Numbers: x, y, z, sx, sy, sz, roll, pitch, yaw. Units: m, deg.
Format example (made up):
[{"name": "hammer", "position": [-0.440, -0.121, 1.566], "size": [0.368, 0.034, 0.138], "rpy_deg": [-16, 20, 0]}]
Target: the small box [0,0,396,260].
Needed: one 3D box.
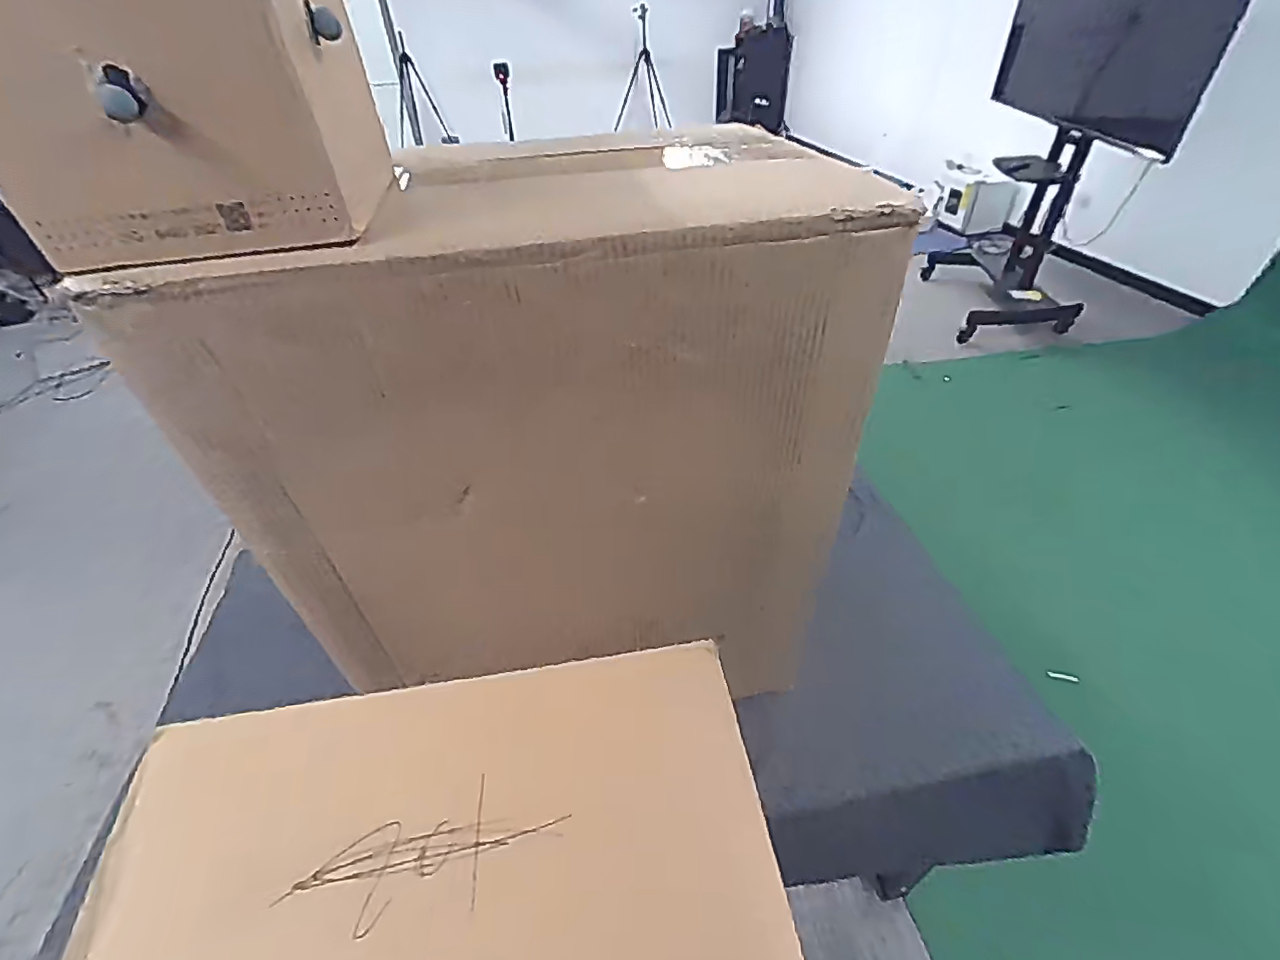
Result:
[{"name": "small box", "position": [-0.266, -0.244, 0.327], "size": [0.168, 0.176, 0.179], "rpy_deg": [-9, 43, -7]}]
